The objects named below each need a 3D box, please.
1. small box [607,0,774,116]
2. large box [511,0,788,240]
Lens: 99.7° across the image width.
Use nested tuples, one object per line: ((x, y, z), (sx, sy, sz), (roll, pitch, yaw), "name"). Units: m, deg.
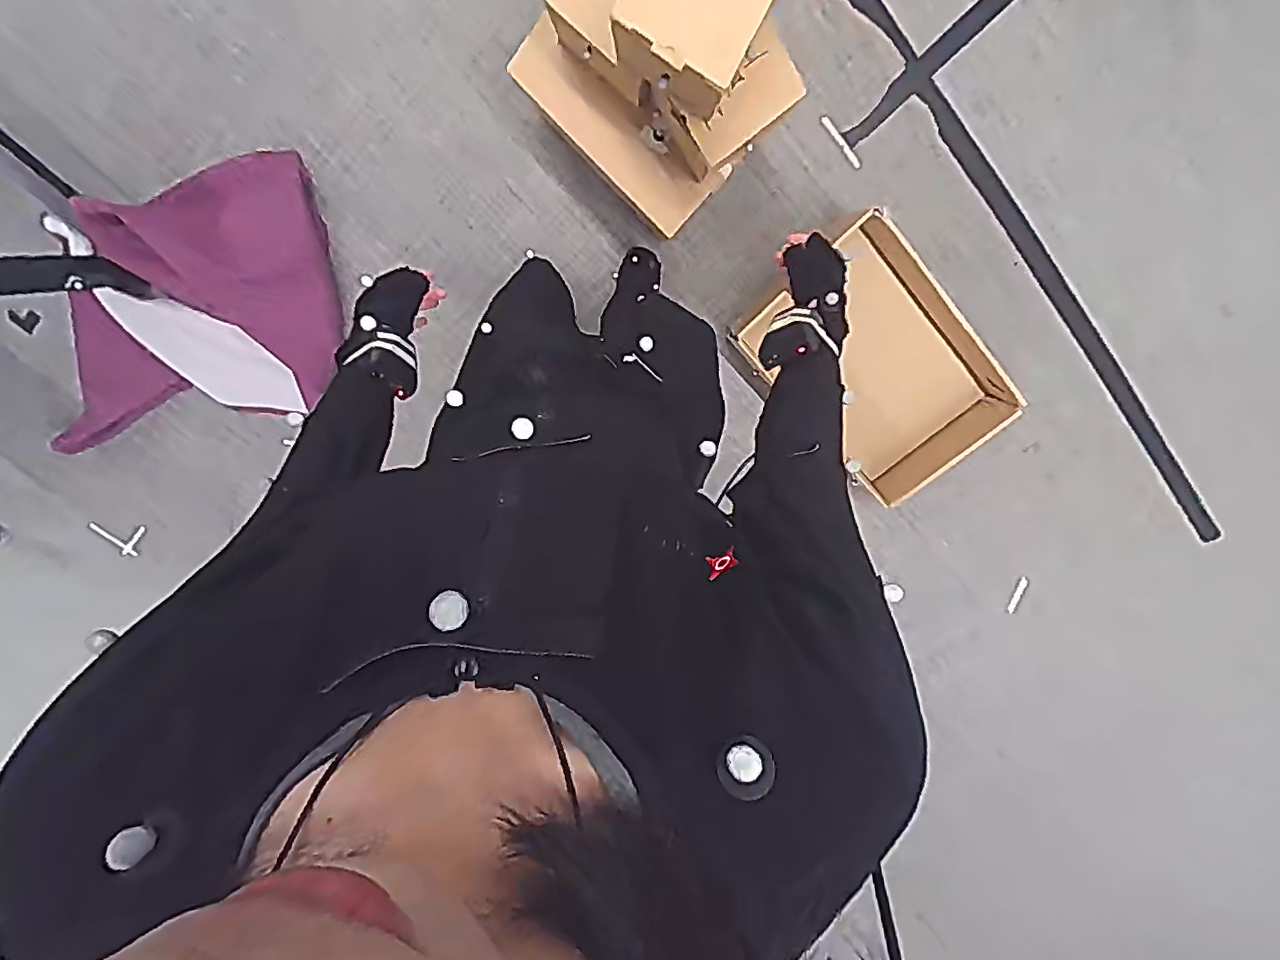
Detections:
((0.075, -0.619, 0.706), (0.168, 0.176, 0.179), (28, 111, -10), "small box")
((0.016, -0.752, 1.092), (0.408, 0.320, 0.320), (40, 108, -15), "large box")
